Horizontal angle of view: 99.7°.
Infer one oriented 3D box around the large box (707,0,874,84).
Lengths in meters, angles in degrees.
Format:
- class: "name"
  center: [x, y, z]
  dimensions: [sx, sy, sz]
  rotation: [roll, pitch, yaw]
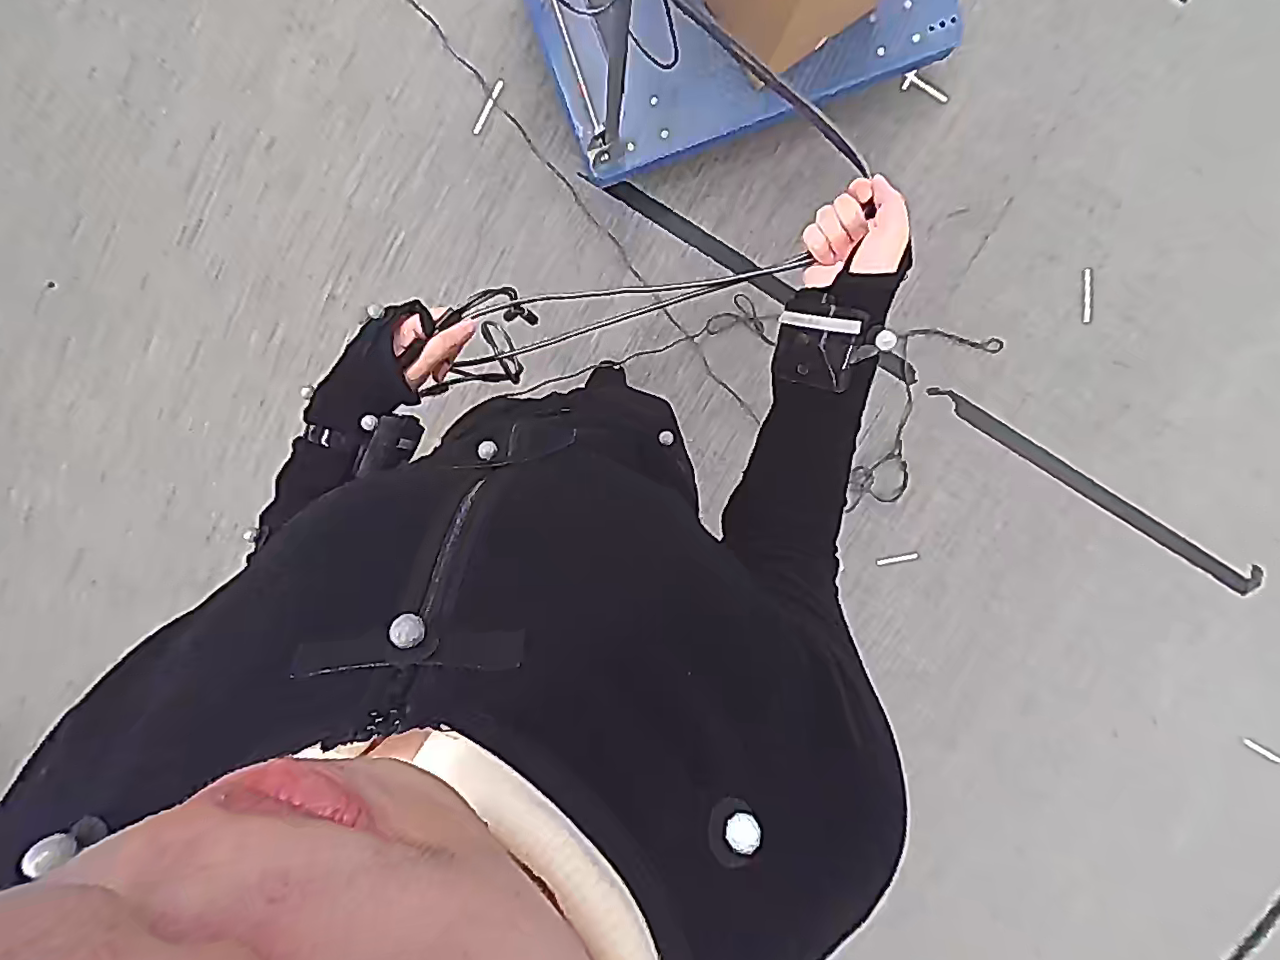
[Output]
- class: "large box"
  center: [0.271, -1.067, 0.981]
  dimensions: [0.320, 0.320, 0.408]
  rotation: [-34, 100, 5]
